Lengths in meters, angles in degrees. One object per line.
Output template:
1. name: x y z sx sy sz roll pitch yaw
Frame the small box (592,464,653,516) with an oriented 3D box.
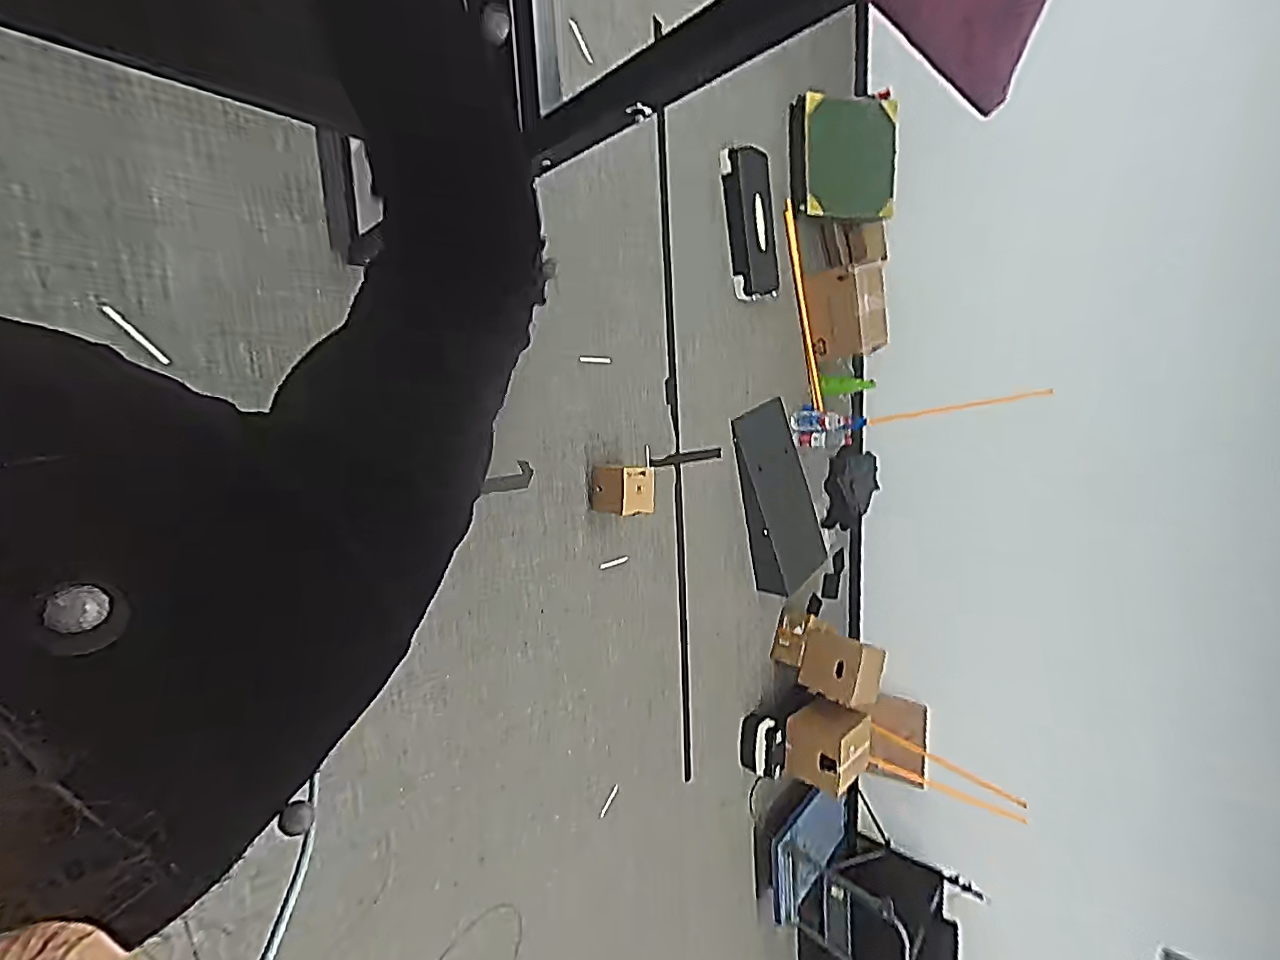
1. small box: -0.069 0.033 2.059 0.168 0.176 0.179 -3 97 -47
